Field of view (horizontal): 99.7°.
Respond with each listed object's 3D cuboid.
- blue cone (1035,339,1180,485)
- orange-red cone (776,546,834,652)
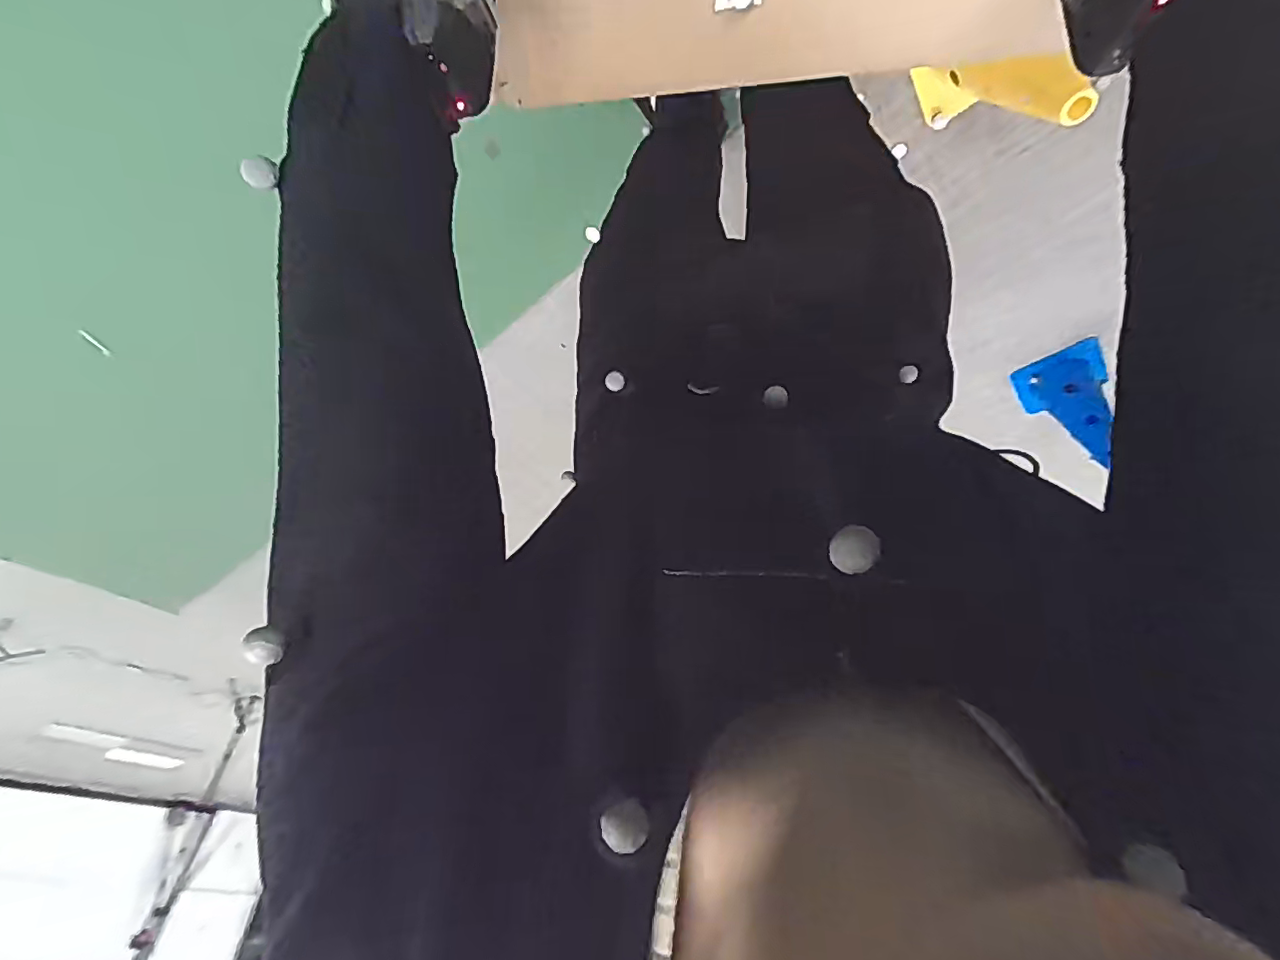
[{"bbox_3d":[1.121,-0.135,1.270,0.192,0.380,0.193,-29,130,31],"label":"blue cone"},{"bbox_3d":[0.621,0.445,1.957,0.199,0.360,0.198,-12,136,19],"label":"orange-red cone"}]
